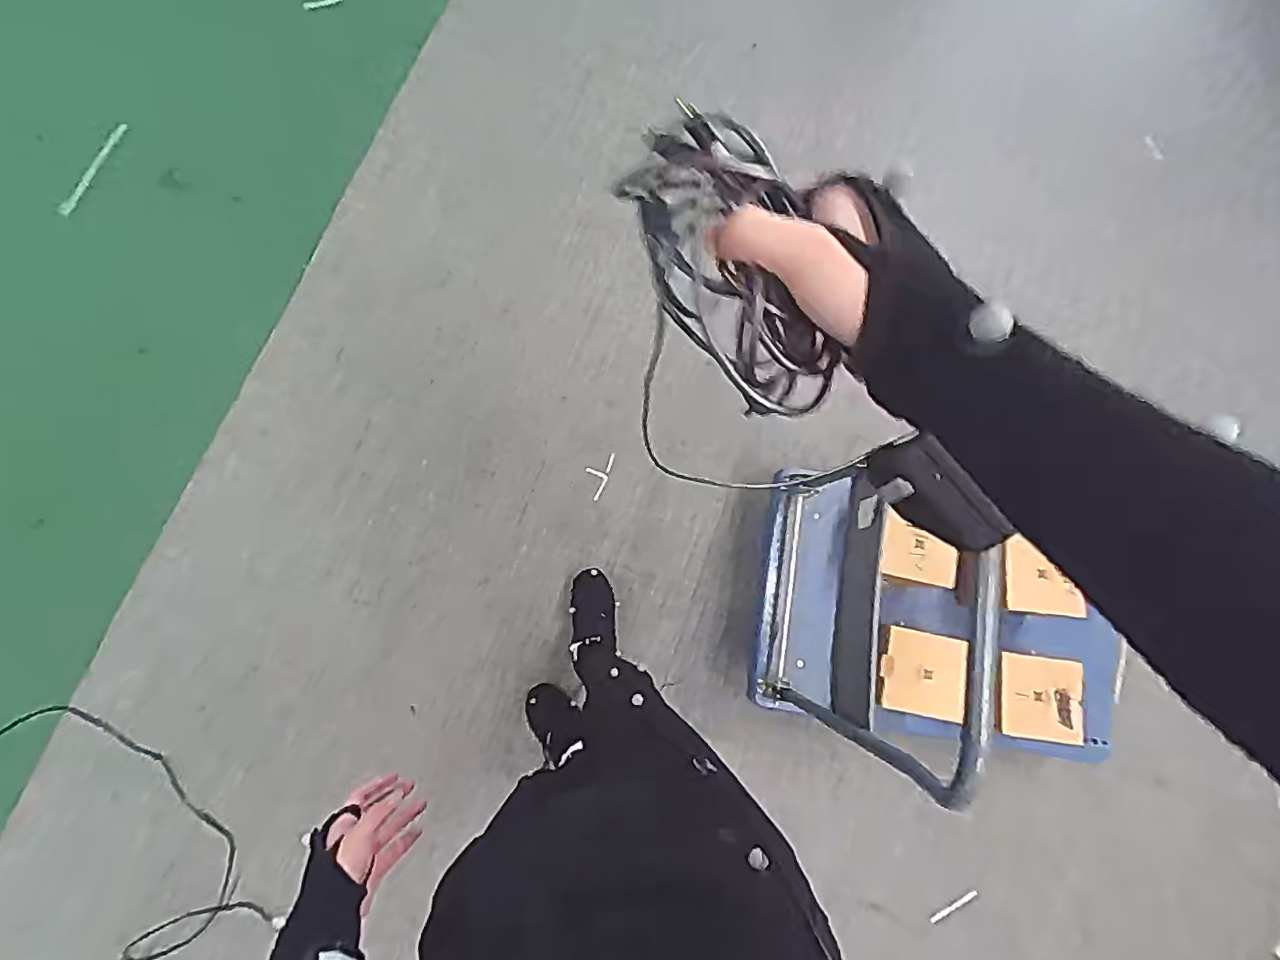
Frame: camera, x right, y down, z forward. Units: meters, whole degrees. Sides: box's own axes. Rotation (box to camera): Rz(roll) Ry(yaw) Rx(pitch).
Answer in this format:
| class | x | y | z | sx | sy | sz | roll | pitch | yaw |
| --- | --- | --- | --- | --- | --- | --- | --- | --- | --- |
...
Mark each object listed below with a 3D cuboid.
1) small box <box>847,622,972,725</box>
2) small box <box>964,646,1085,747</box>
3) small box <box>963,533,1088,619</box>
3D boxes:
| class | x | y | z | sx | sy | sz | roll | pitch | yaw |
| --- | --- | --- | --- | --- | --- | --- | --- | --- | --- |
| small box | 0.582 | 0.413 | 1.183 | 0.179 | 0.176 | 0.168 | 12 | 79 | -1 |
| small box | 0.826 | 0.466 | 1.188 | 0.179 | 0.176 | 0.168 | 9 | 79 | -1 |
| small box | 0.869 | 0.219 | 1.235 | 0.179 | 0.176 | 0.168 | 7 | 80 | -3 |
